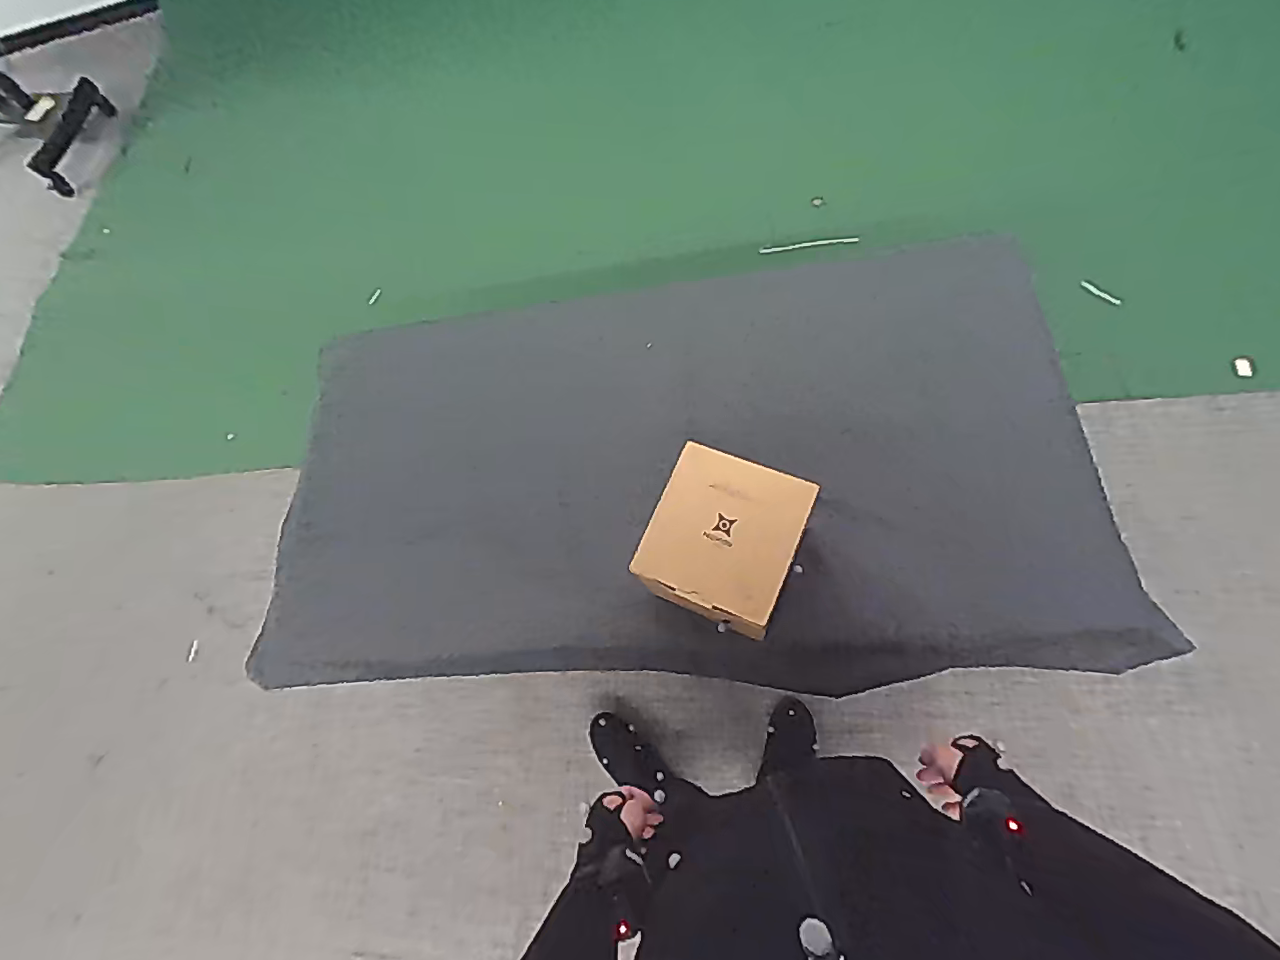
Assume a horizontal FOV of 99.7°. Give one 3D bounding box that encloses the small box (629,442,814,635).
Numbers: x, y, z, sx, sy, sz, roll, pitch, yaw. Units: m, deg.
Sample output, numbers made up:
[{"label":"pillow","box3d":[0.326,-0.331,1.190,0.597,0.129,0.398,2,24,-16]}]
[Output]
[{"label":"small box","box3d":[0.107,0.083,0.690,0.168,0.176,0.179,21,74,17]}]
